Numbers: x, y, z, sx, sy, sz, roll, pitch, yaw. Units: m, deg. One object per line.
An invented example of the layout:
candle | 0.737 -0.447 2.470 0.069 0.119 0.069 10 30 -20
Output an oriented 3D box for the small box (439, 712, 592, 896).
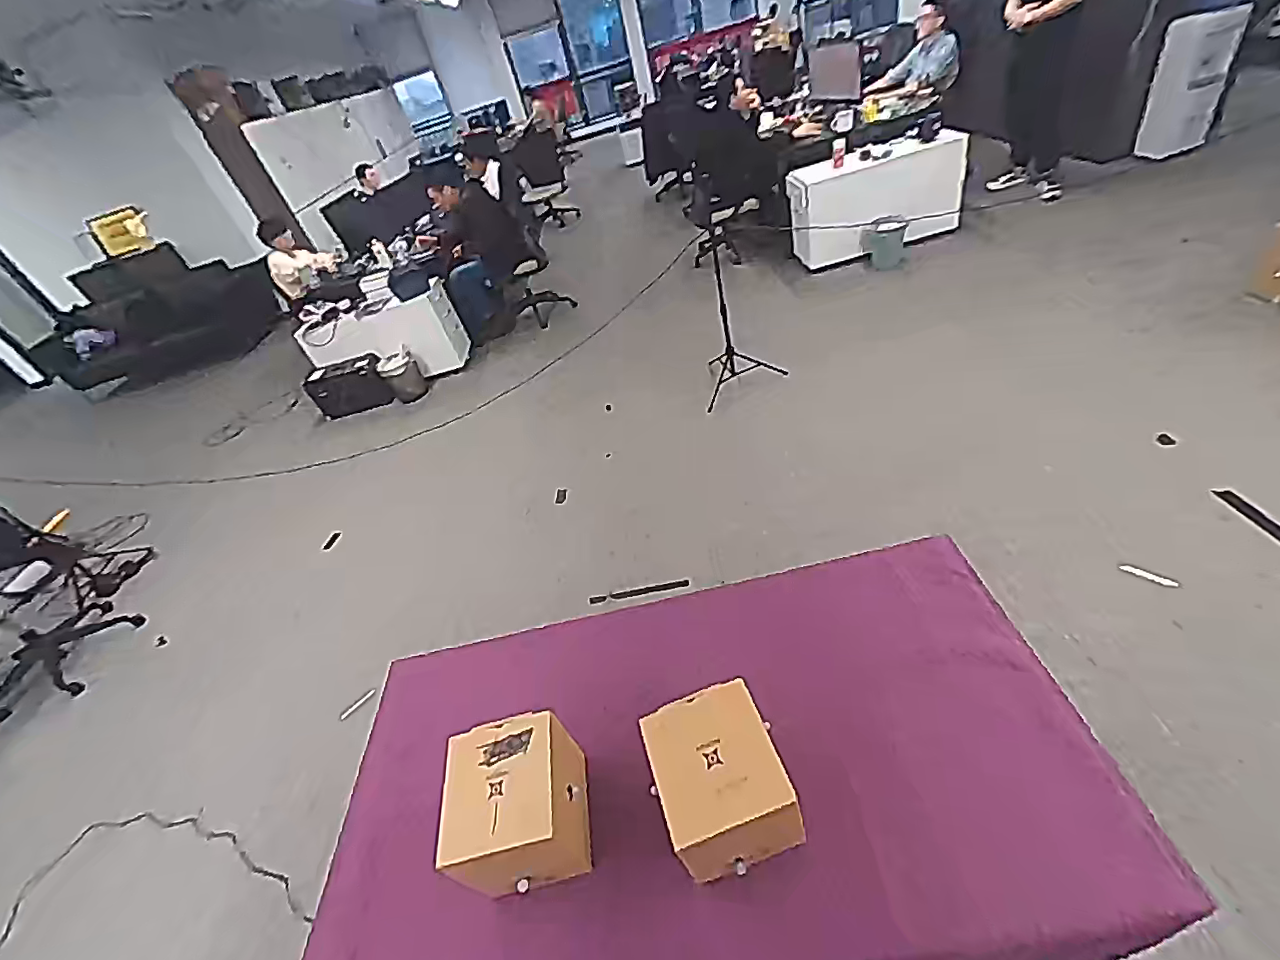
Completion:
small box | -0.179 0.492 0.823 0.168 0.176 0.179 -17 40 3

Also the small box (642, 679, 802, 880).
small box | 0.117 0.430 0.779 0.168 0.176 0.179 -22 39 -2
